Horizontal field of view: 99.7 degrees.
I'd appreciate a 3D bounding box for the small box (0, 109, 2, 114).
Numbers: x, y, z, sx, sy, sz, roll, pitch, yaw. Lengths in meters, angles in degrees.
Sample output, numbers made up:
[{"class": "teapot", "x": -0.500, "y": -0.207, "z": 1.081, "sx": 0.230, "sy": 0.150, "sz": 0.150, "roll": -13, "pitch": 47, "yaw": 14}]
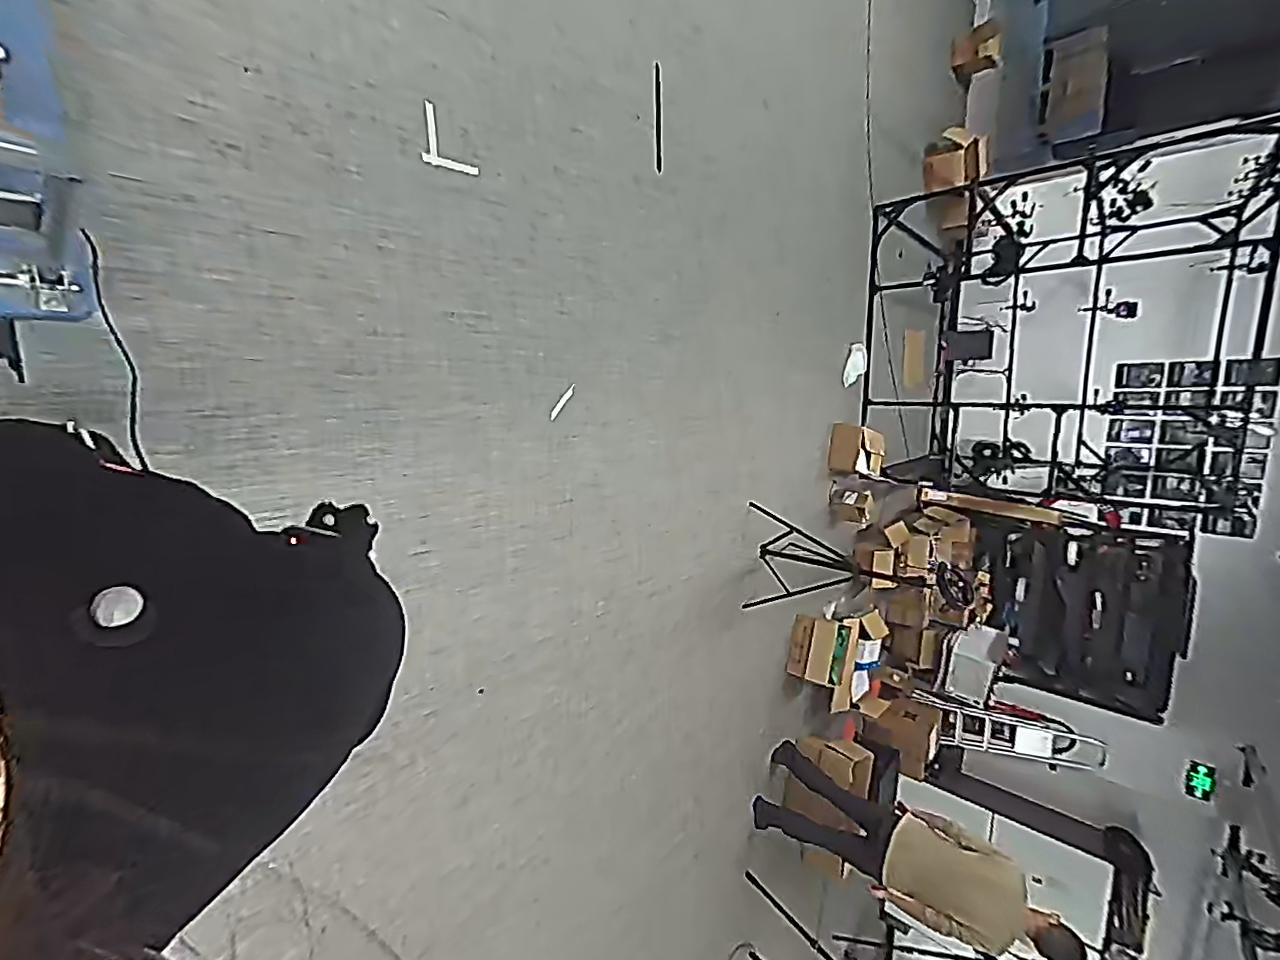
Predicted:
[{"class": "small box", "x": -0.983, "y": -0.603, "z": 0.702, "sx": 0.179, "sy": 0.176, "sz": 0.168, "roll": -16, "pitch": 107, "yaw": -47}]
